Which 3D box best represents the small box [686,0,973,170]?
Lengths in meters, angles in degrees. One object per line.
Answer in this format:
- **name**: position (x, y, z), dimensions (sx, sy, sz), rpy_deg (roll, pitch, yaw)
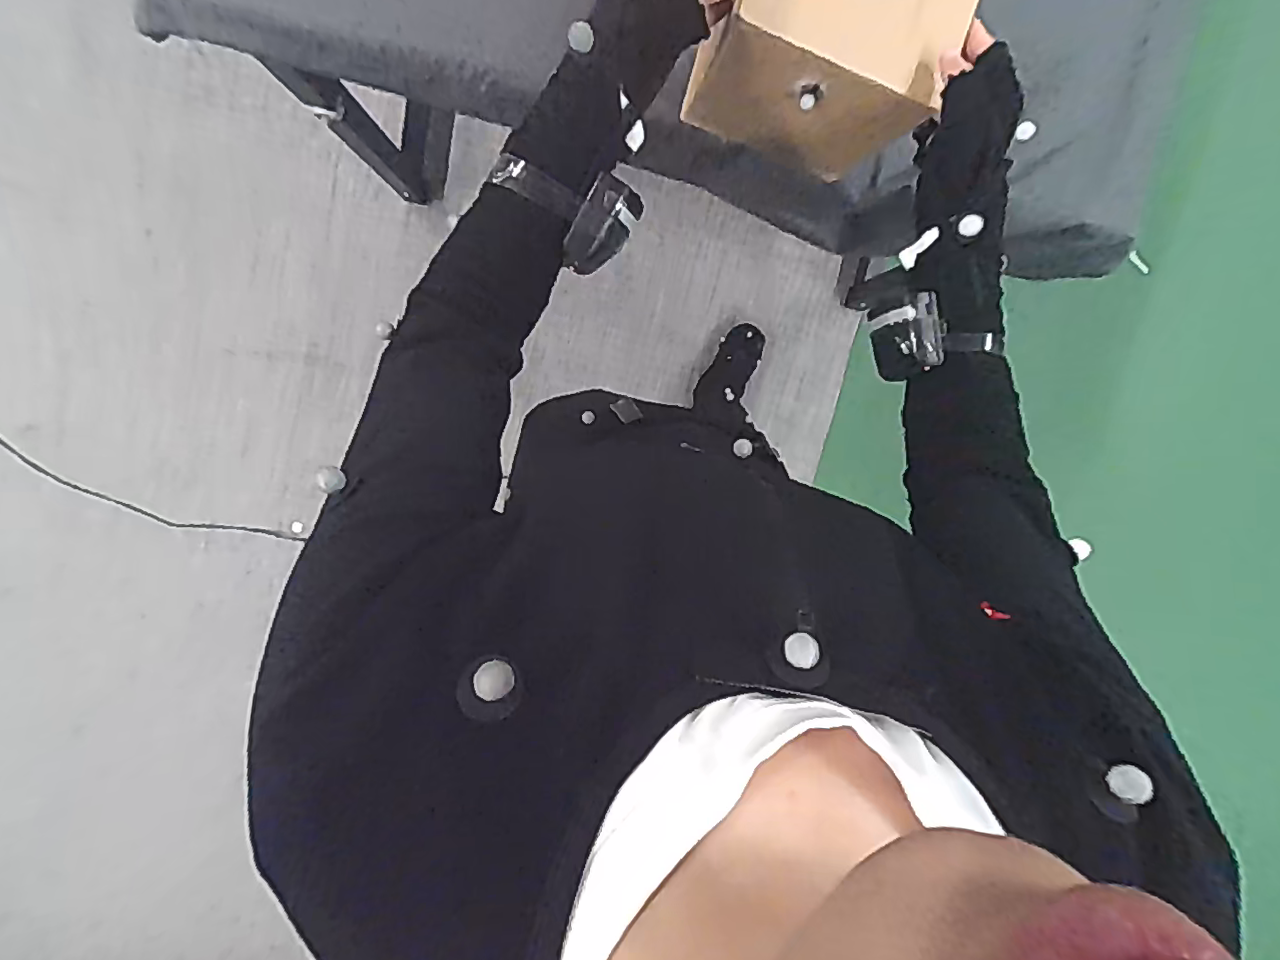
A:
- **small box**: position (0.154, -0.398, 0.463), dimensions (0.179, 0.176, 0.168), rpy_deg (13, 100, -14)
